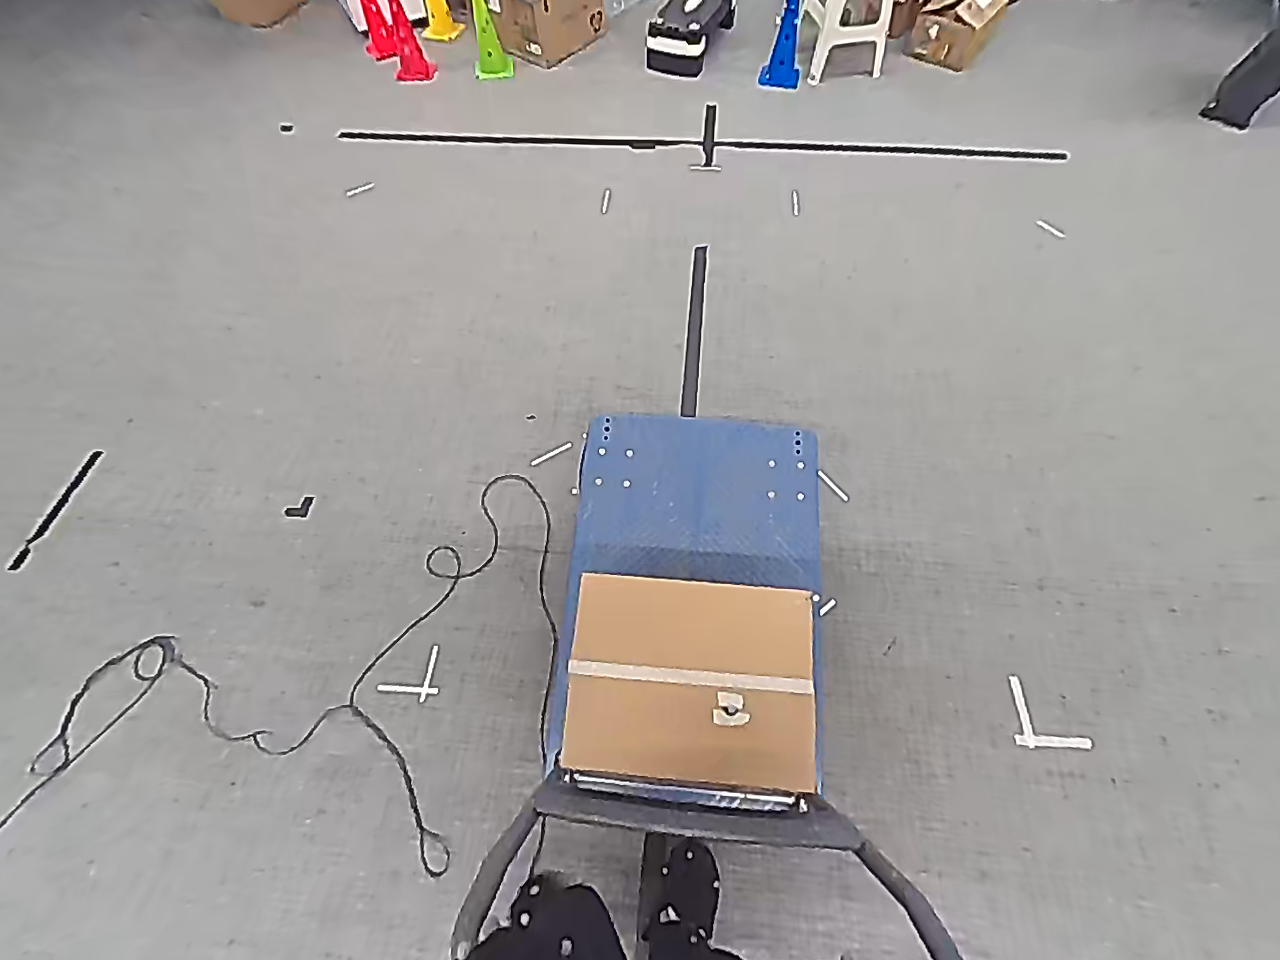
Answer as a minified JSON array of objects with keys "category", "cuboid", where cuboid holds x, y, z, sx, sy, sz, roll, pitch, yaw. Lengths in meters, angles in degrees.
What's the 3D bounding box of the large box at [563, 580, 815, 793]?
[{"category":"large box","cuboid":[0.084,0.380,1.034,0.408,0.320,0.320,4,72,2]}]
